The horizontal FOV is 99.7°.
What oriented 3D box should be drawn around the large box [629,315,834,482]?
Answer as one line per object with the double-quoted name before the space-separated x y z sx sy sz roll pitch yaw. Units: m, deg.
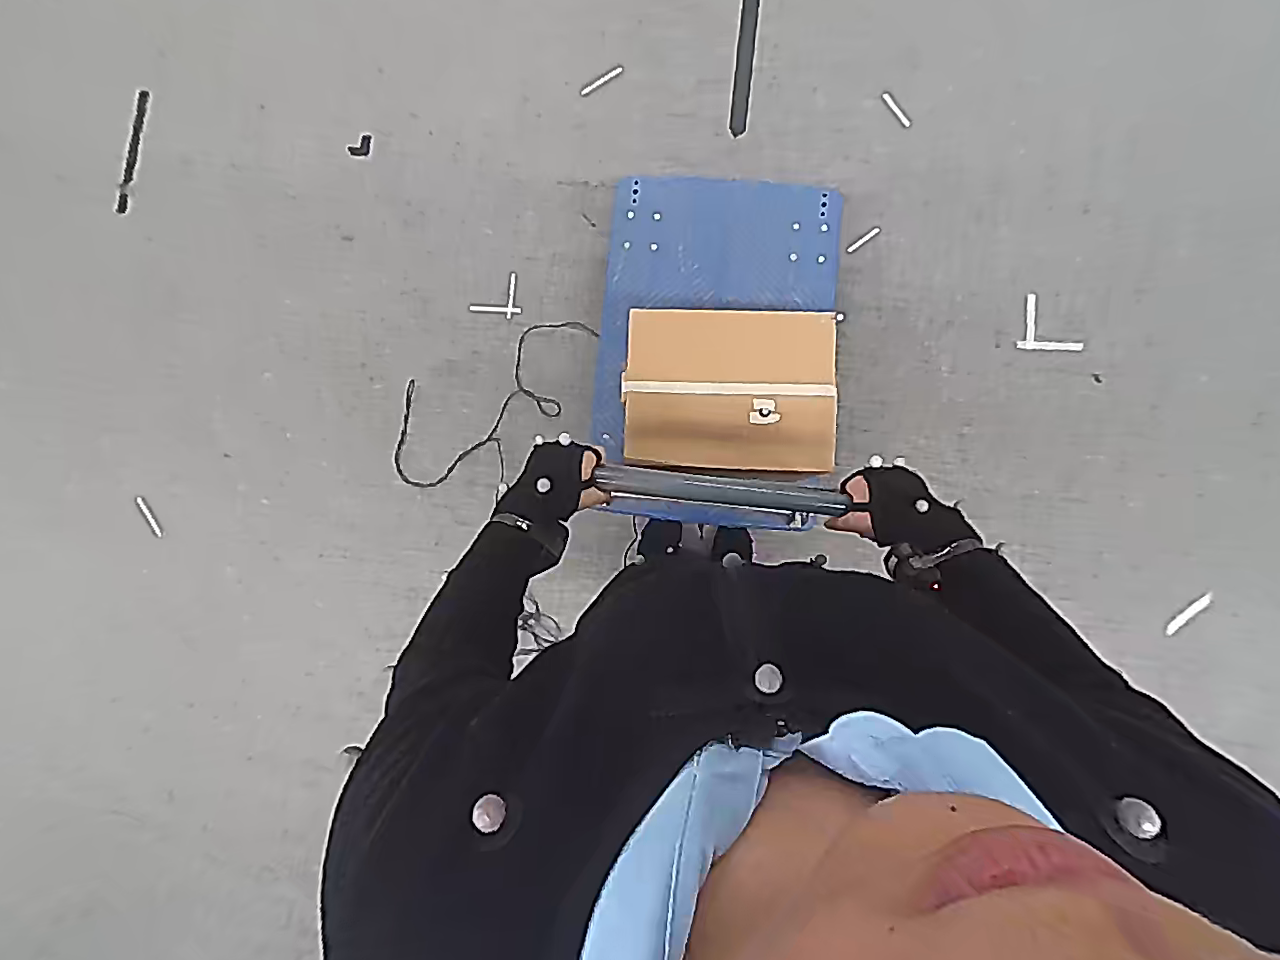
"large box" 0.183 -0.161 1.205 0.408 0.320 0.320 2 87 2
